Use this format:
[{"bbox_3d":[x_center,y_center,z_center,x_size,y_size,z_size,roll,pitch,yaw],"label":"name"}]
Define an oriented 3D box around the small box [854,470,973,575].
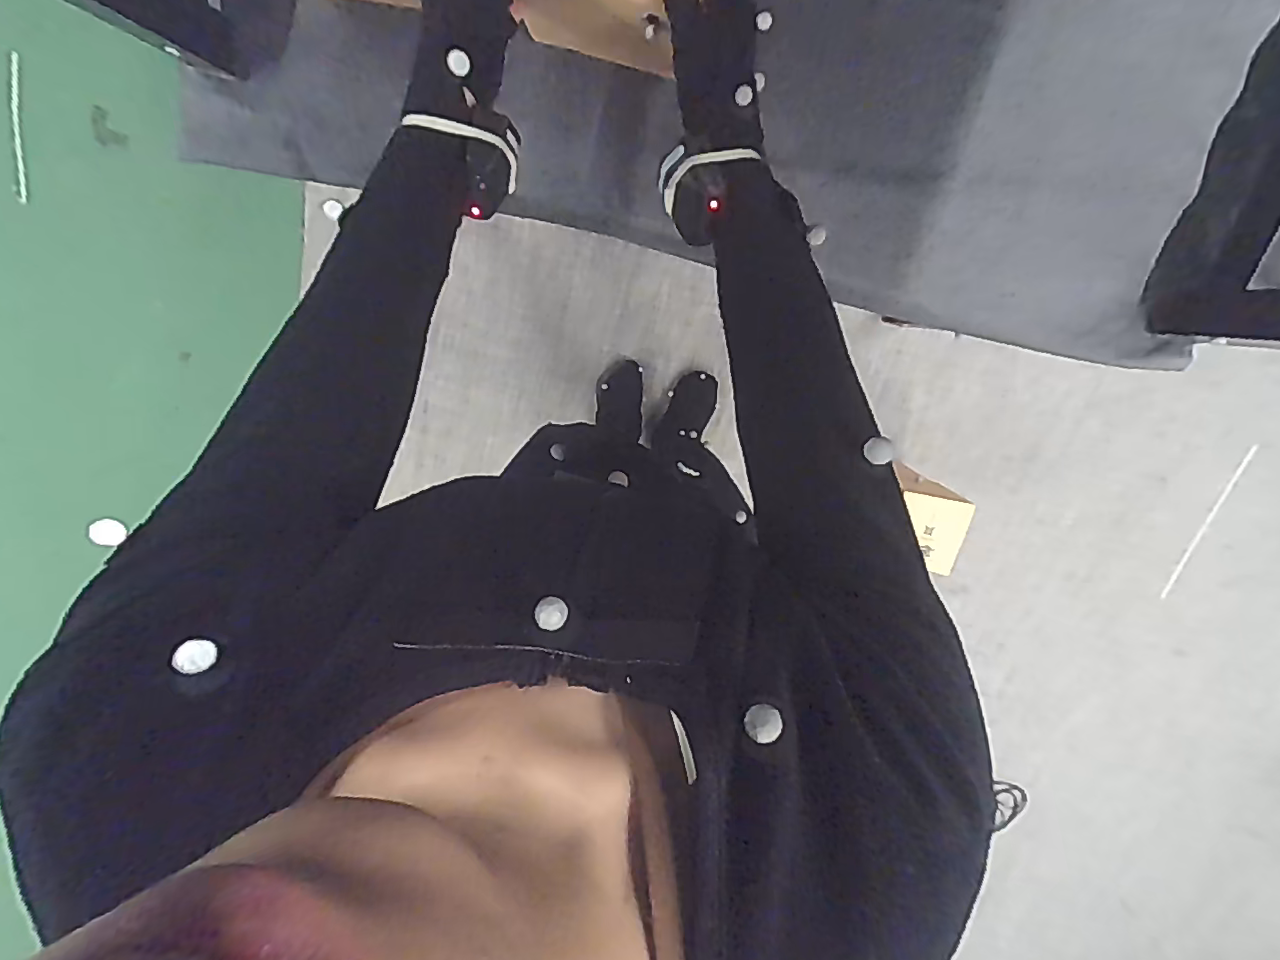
[{"bbox_3d":[0.622,0.093,1.258,0.168,0.176,0.179,11,107,-3],"label":"small box"}]
